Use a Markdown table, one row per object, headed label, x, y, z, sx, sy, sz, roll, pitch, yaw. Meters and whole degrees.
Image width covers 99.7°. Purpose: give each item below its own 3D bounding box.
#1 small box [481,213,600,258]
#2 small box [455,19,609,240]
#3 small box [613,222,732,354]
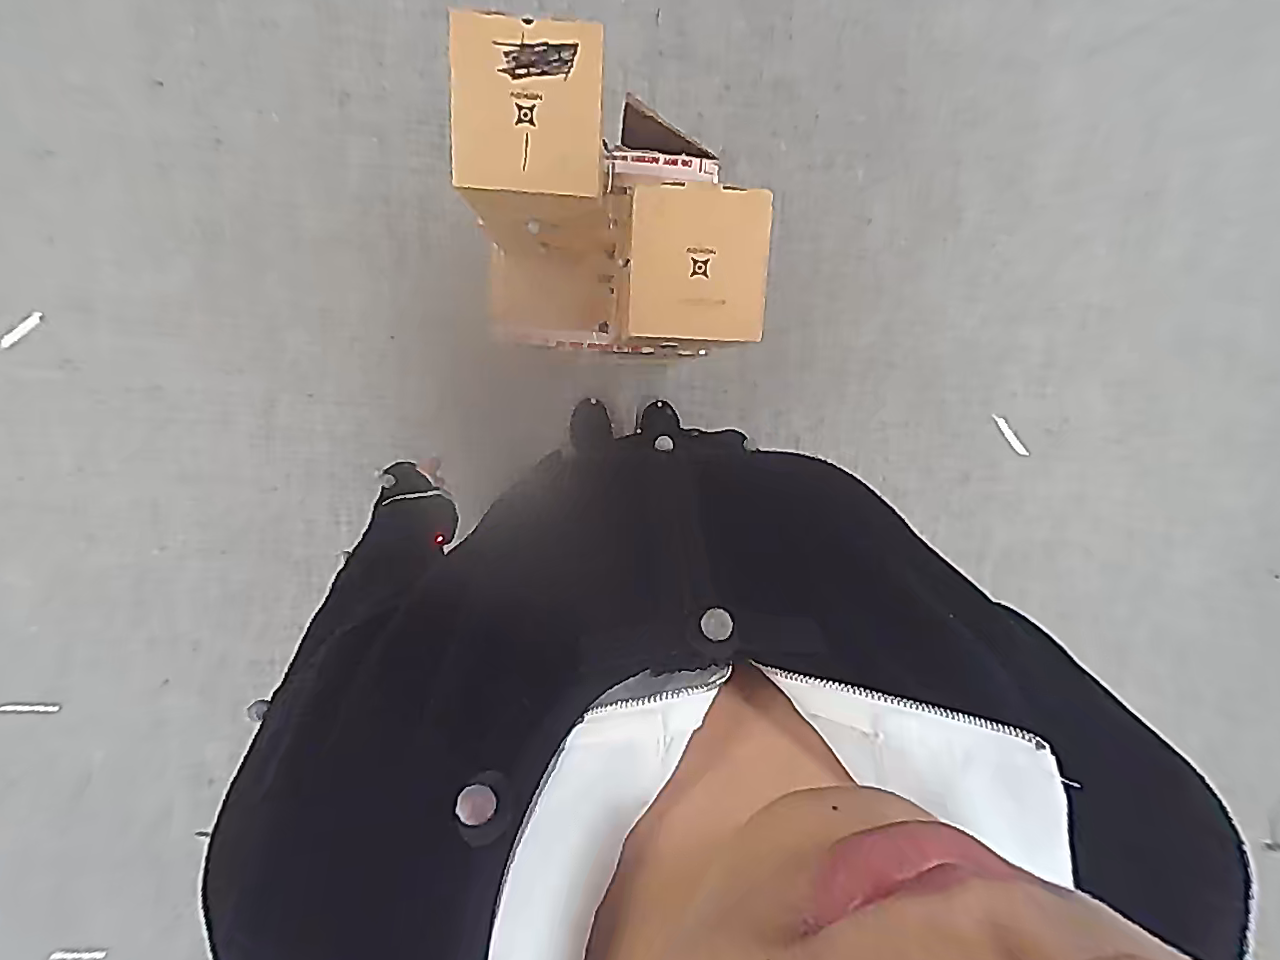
| label | x | y | z | sx | sy | sz | roll | pitch | yaw |
| --- | --- | --- | --- | --- | --- | --- | --- | --- | --- |
| small box | -0.147 | -0.454 | 0.835 | 0.168 | 0.176 | 0.179 | -1 | 102 | -2 |
| small box | -0.125 | -0.418 | 0.675 | 0.168 | 0.176 | 0.179 | 3 | 102 | -3 |
| small box | 0.043 | -0.299 | 0.877 | 0.168 | 0.176 | 0.179 | 2 | 100 | -5 |
